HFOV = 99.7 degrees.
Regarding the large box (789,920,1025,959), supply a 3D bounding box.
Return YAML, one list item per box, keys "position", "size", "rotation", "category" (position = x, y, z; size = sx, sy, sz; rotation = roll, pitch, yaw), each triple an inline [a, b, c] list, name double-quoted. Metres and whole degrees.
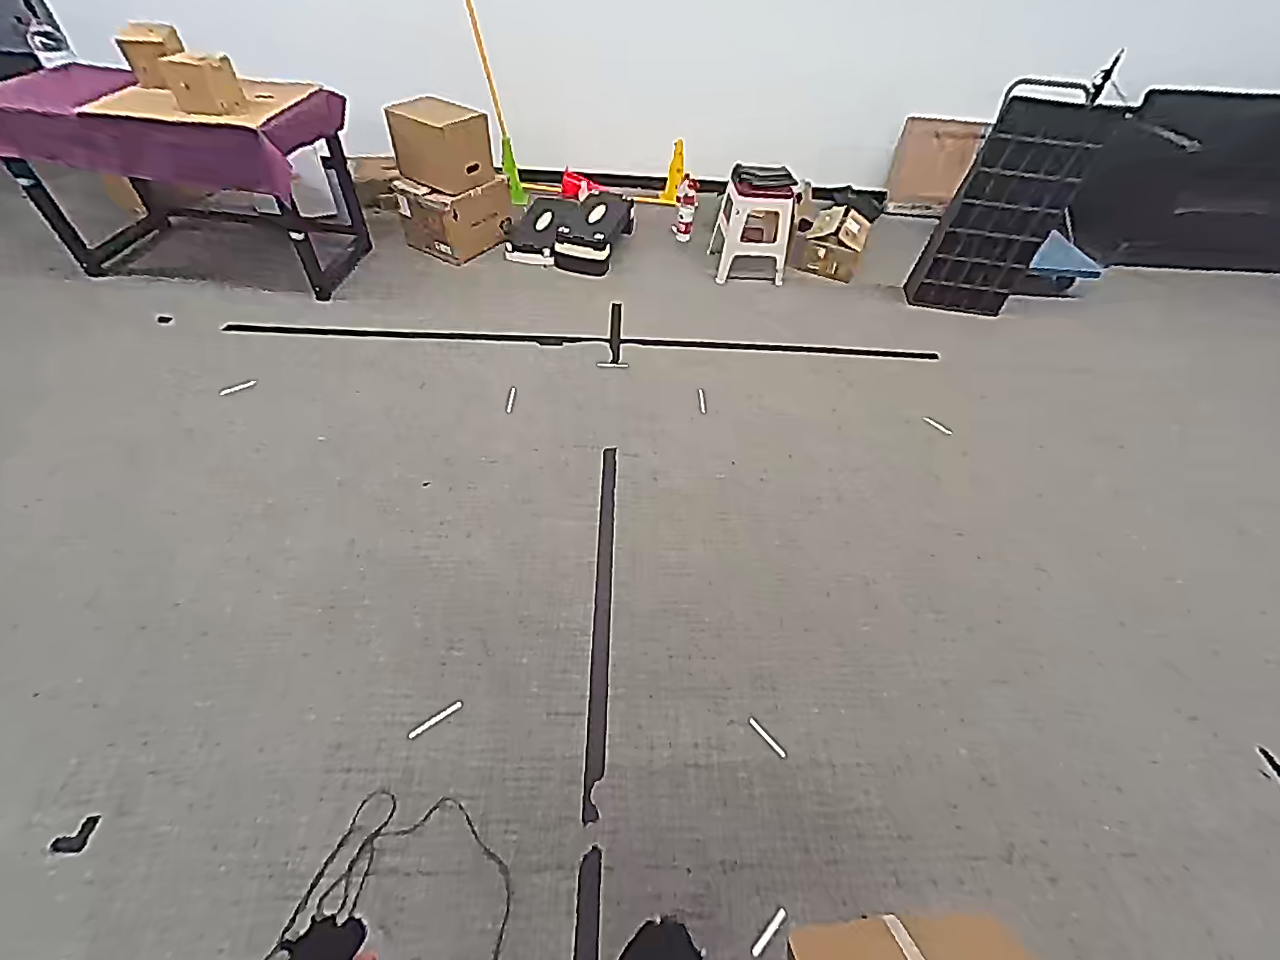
- position: [0.381, 0.800, 0.593]
  size: [0.320, 0.408, 0.320]
  rotation: [-3, 89, -3]
  category: "large box"
